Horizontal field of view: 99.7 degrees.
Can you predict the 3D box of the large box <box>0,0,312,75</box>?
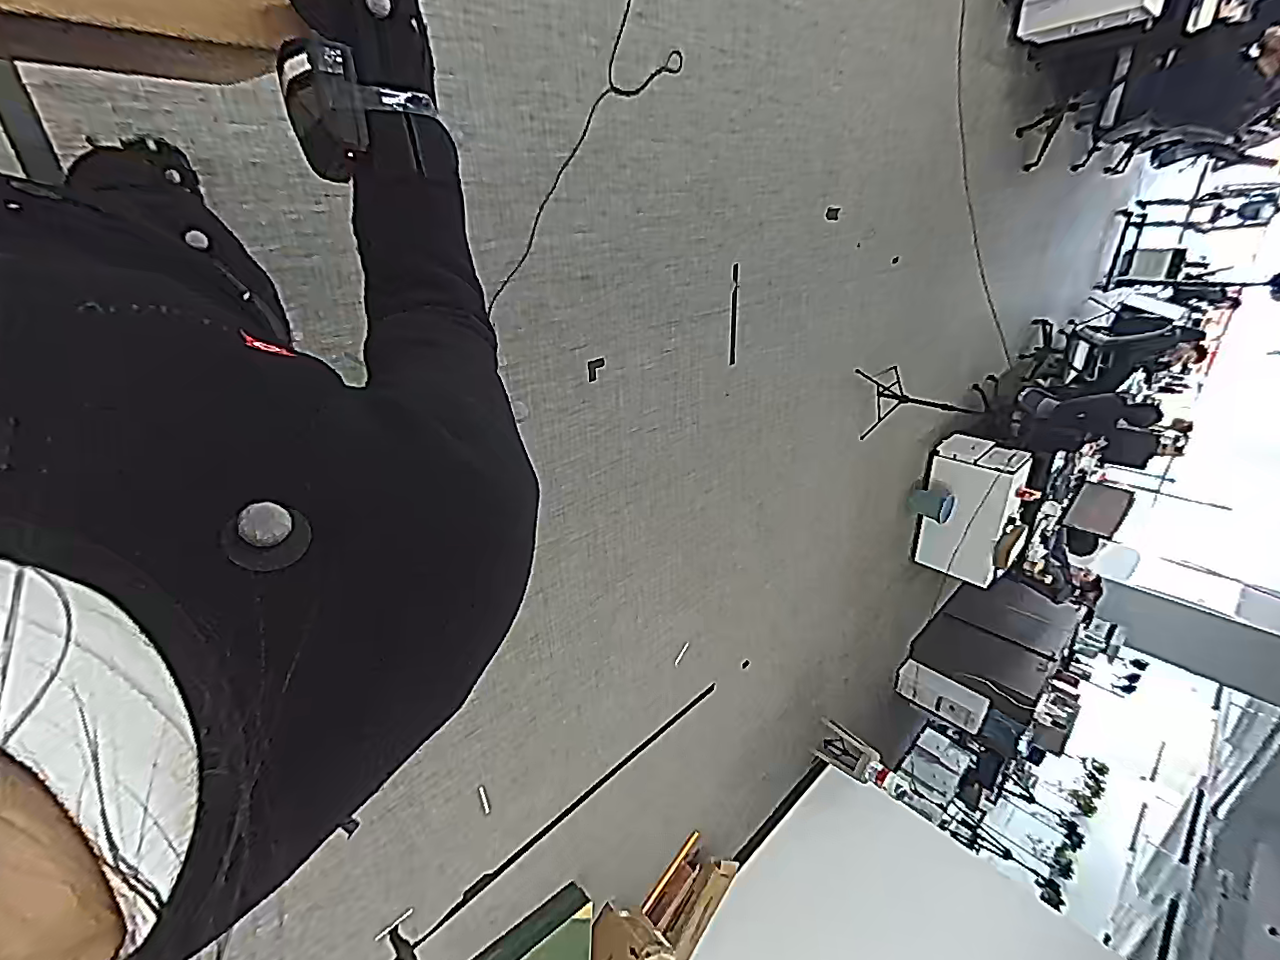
[{"bbox_3d":[-0.452,-0.411,0.253,0.408,0.320,0.320,-22,130,-37],"label":"large box"}]
